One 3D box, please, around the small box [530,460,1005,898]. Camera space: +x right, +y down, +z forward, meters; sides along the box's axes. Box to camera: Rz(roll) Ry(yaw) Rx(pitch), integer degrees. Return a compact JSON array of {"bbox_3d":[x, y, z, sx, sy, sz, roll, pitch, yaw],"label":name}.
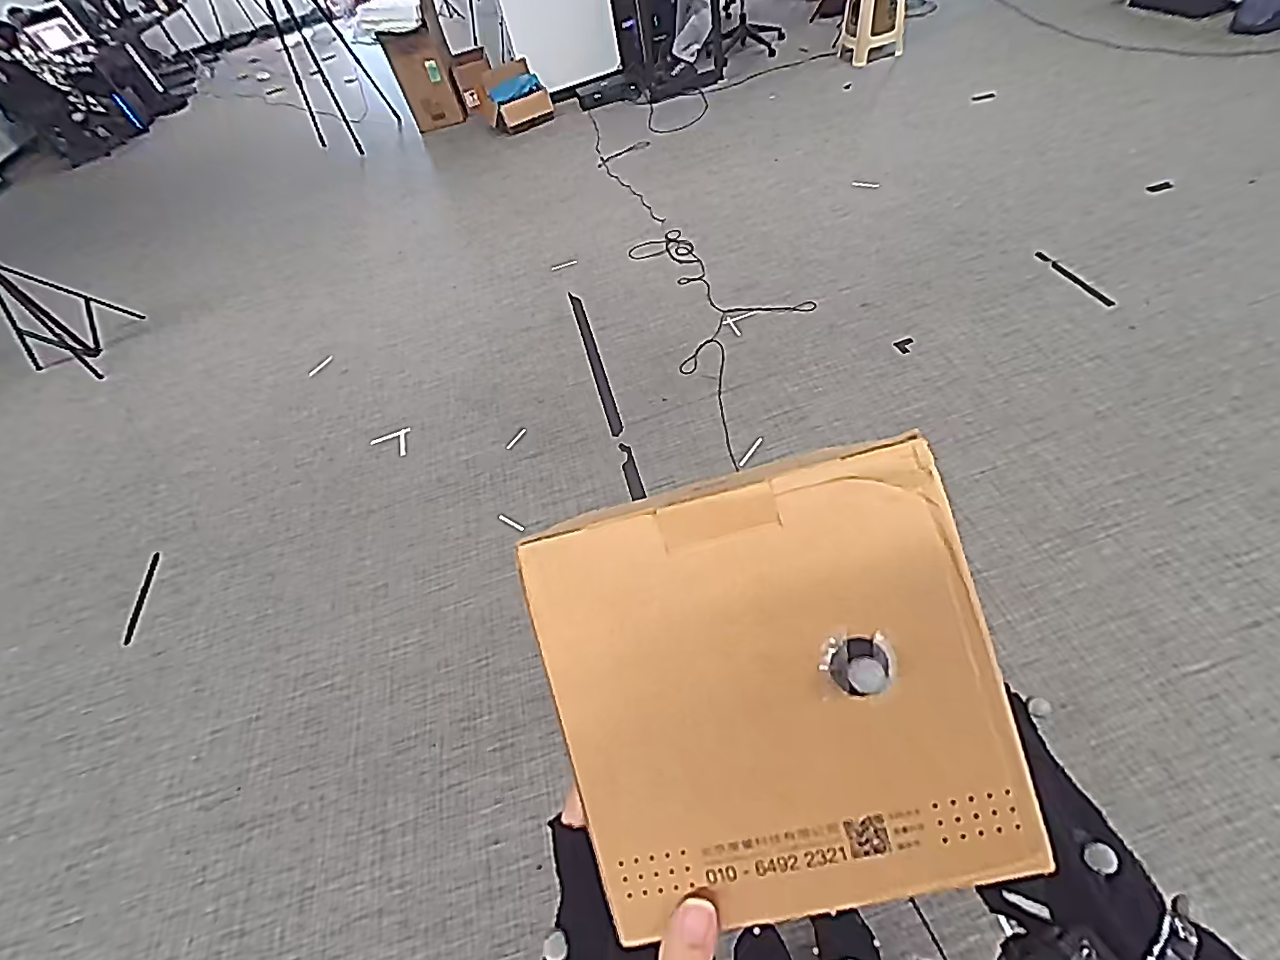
[{"bbox_3d":[0.063,0.093,0.304,0.168,0.179,0.176,-16,89,8],"label":"small box"}]
